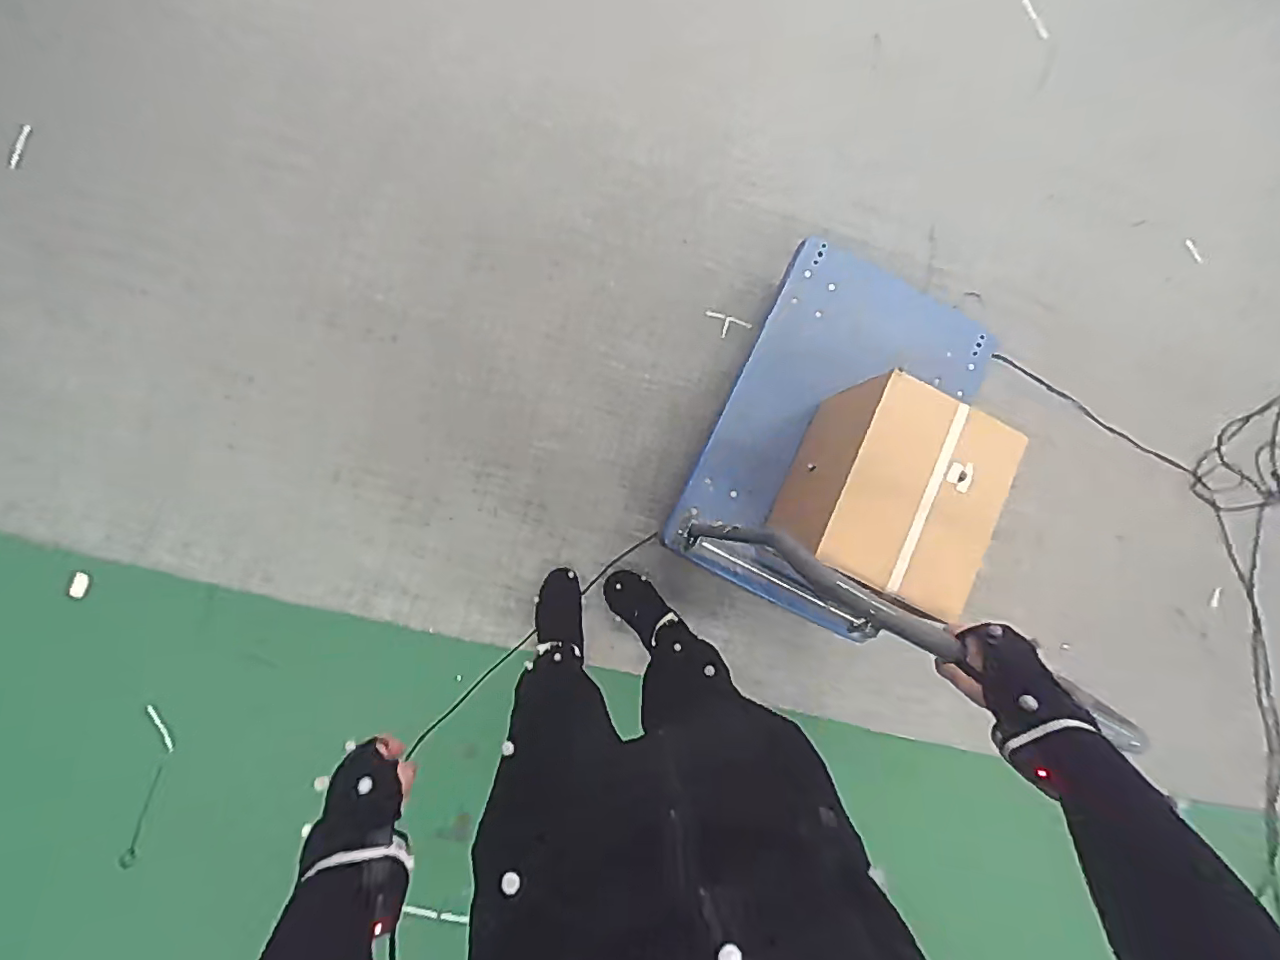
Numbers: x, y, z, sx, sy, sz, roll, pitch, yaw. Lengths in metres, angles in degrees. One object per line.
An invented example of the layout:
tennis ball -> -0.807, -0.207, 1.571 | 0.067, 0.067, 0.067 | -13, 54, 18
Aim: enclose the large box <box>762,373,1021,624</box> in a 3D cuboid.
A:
large box -> 0.519, 0.046, 1.177 | 0.320, 0.320, 0.408 | 26, 83, -6
